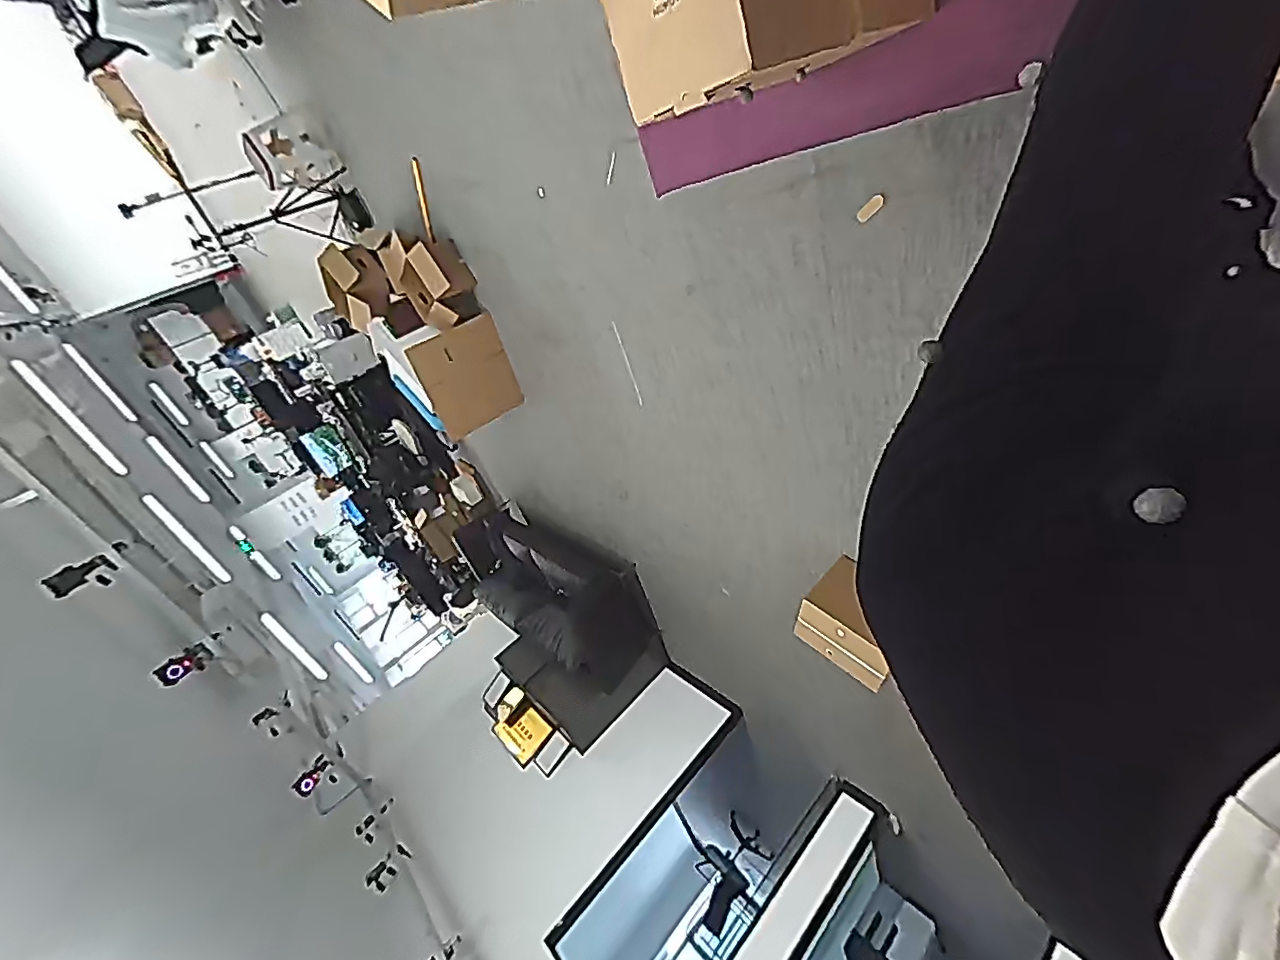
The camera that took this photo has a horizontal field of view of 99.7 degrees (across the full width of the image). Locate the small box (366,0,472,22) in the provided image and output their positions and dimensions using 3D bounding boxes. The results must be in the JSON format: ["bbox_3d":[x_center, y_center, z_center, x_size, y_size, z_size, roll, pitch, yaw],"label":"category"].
[{"bbox_3d":[-0.229,-0.589,0.513,0.179,0.176,0.168,44,152,13],"label":"small box"}]

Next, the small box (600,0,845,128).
[{"bbox_3d":[0.079,-0.481,0.525,0.168,0.176,0.179,16,136,47],"label":"small box"}]

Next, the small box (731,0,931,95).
[{"bbox_3d":[0.196,-0.566,0.604,0.179,0.176,0.168,15,134,48],"label":"small box"}]
